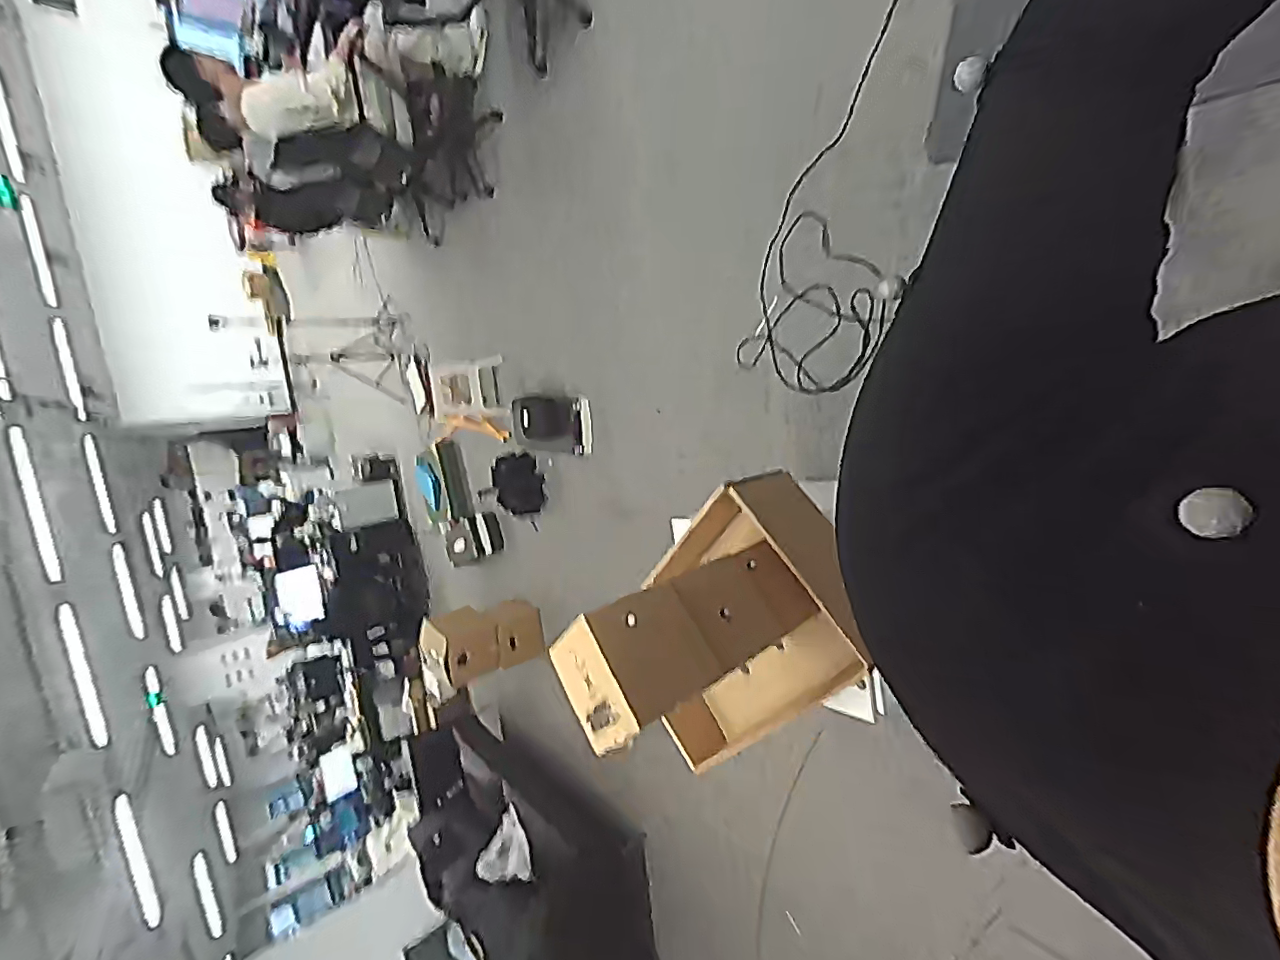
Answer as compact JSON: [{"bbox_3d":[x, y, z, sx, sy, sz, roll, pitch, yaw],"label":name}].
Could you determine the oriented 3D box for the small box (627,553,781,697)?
[{"bbox_3d":[0.111,0.249,0.963,0.179,0.176,0.168,56,139,21],"label":"small box"}]
